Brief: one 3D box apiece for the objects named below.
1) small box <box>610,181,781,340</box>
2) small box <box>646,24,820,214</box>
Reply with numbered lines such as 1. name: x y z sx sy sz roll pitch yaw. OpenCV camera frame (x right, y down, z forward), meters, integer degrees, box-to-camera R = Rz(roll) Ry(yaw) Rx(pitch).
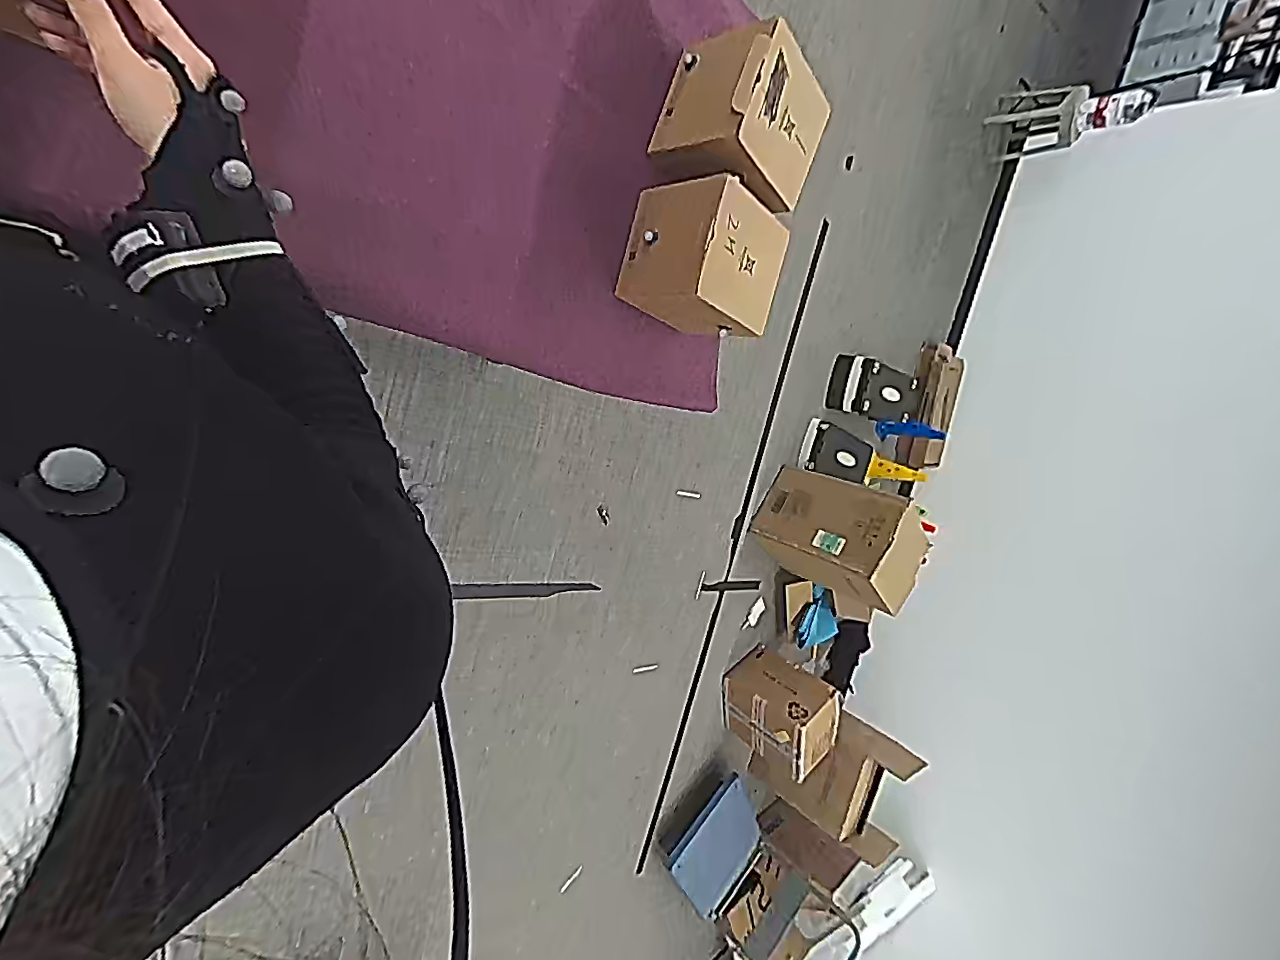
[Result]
1. small box: 0.084 -0.329 0.839 0.179 0.176 0.168 12 94 -46
2. small box: 0.137 -0.522 0.820 0.179 0.176 0.168 19 93 -48
